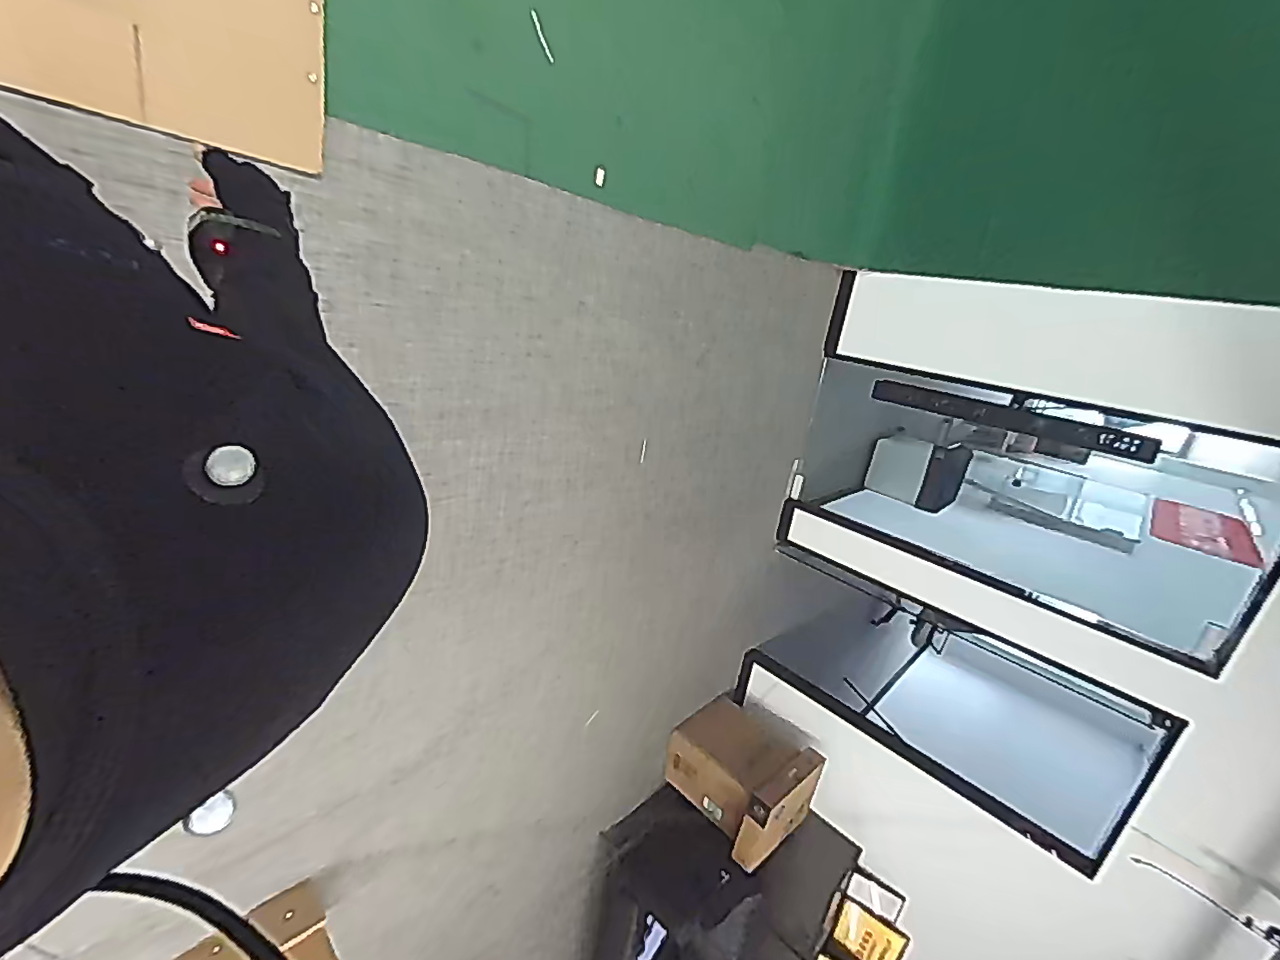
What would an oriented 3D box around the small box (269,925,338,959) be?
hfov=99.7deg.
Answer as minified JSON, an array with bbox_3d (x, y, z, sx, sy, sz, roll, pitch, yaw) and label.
[{"bbox_3d":[-1.028,1.529,1.644,0.179,0.176,0.168,-15,121,-45],"label":"small box"}]
